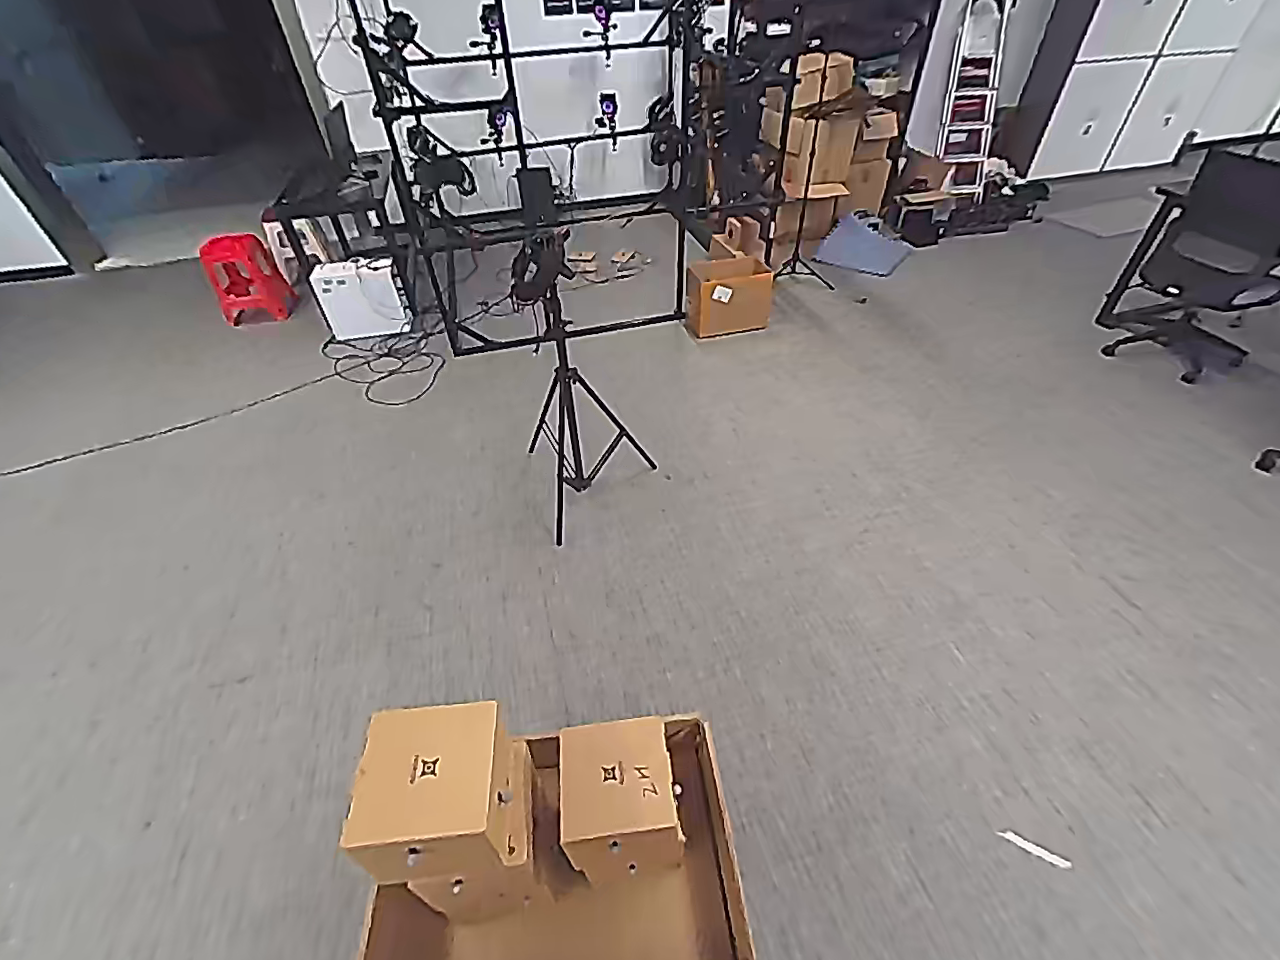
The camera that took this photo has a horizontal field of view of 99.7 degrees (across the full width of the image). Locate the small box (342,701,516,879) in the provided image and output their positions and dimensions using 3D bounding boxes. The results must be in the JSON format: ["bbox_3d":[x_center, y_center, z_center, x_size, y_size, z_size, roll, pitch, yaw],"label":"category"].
[{"bbox_3d":[-0.275,0.433,0.756,0.179,0.176,0.168,-5,42,-4],"label":"small box"}]
